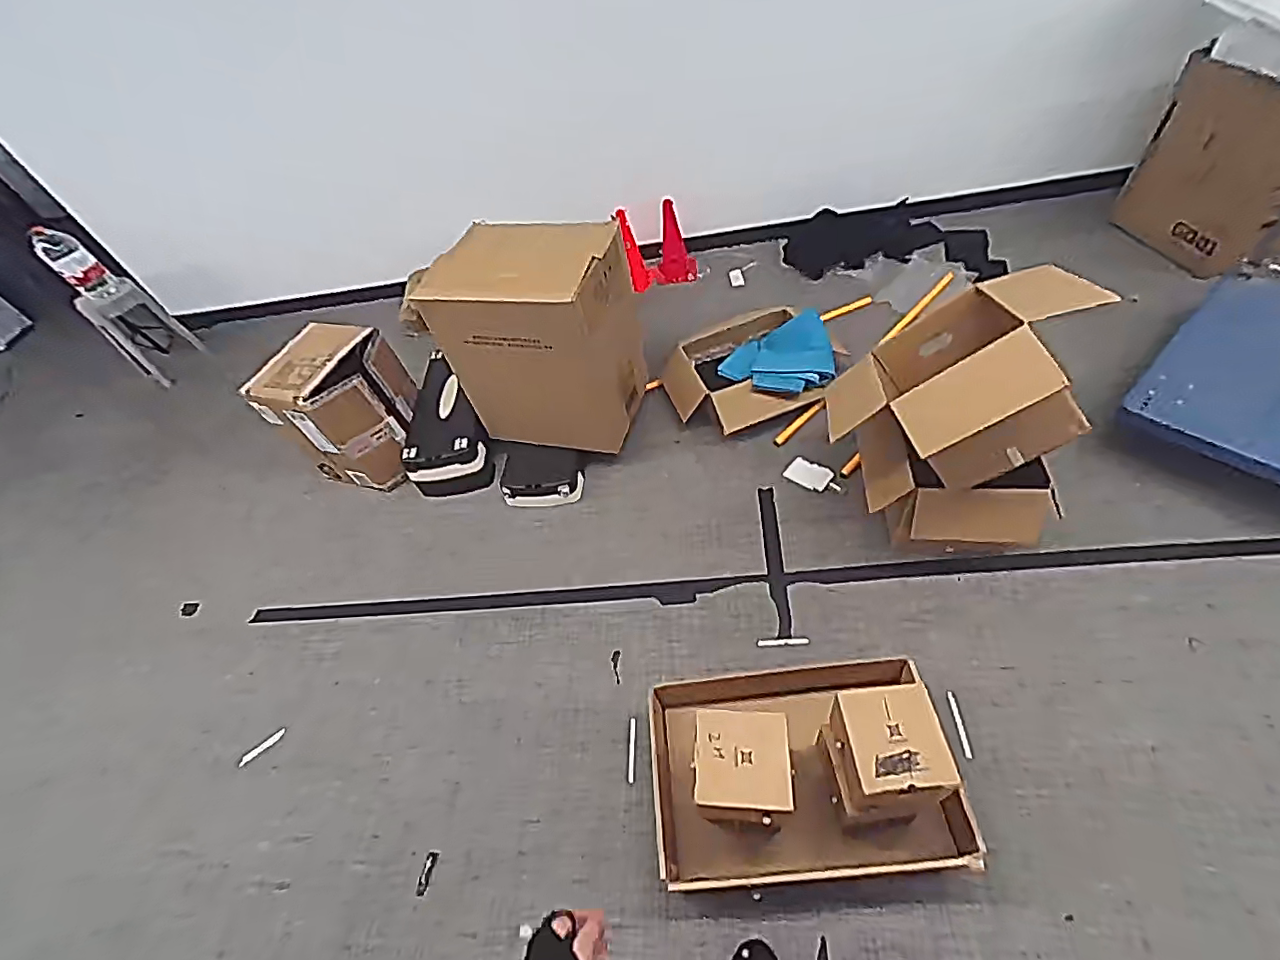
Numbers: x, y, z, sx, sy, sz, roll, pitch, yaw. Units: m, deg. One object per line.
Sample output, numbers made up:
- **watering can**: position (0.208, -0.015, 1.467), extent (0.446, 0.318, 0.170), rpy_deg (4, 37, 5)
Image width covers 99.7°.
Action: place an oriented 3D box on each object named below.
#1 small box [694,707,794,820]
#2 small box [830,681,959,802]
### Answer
- **small box**: position (0.201, 0.558, 1.061), extent (0.179, 0.176, 0.168), rpy_deg (-2, 51, 10)
- **small box**: position (0.475, 0.507, 1.038), extent (0.168, 0.176, 0.179), rpy_deg (-9, 50, 6)
